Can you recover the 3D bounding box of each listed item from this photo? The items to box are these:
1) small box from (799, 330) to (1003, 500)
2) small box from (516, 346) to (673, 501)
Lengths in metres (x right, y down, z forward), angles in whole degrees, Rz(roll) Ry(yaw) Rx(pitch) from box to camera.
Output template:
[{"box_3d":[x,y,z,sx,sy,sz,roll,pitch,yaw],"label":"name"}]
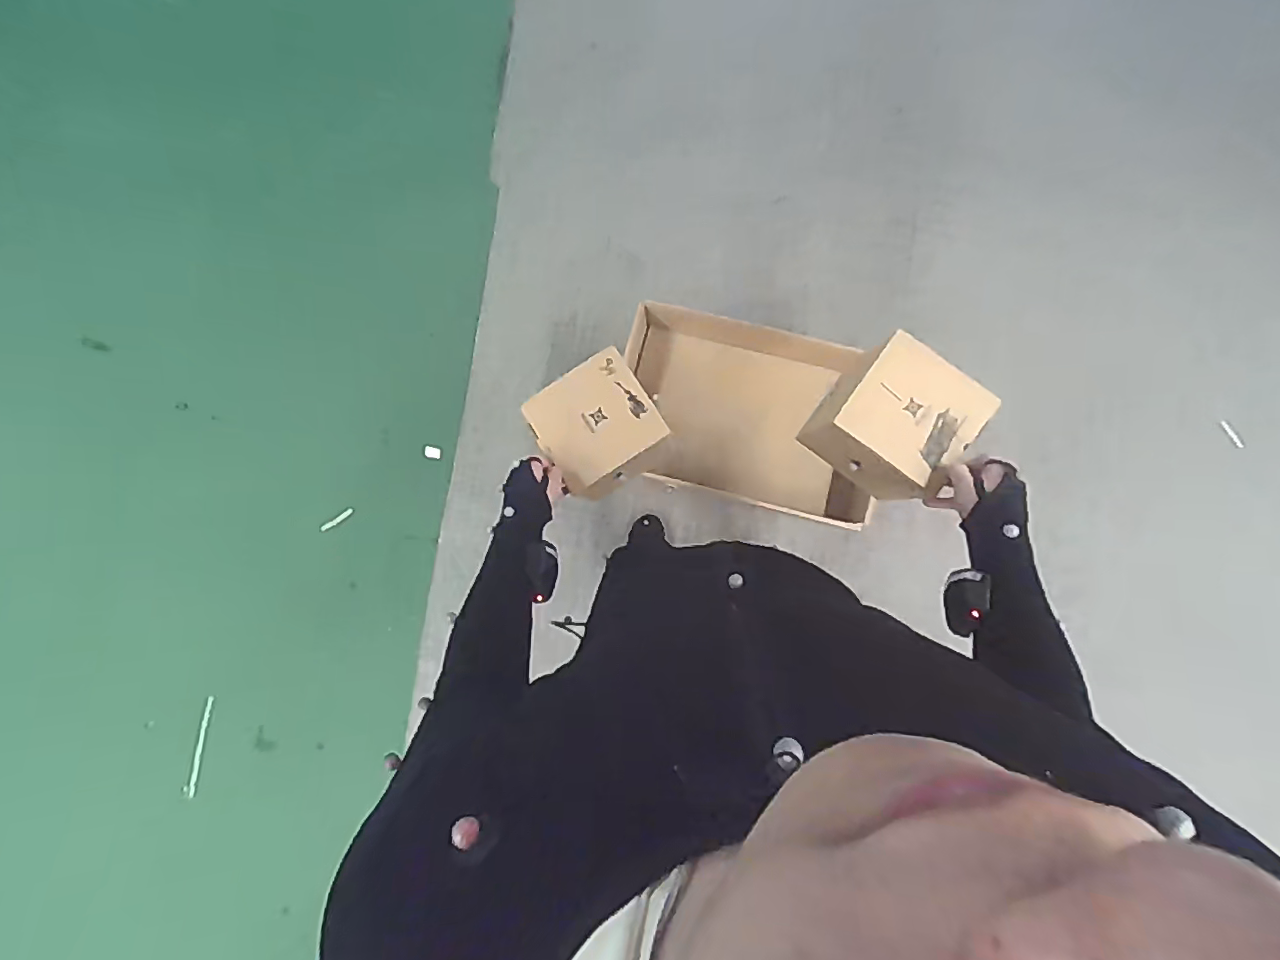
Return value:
[{"box_3d":[0.370,-0.085,0.801,0.179,0.176,0.168,36,86,1],"label":"small box"},{"box_3d":[-0.062,-0.078,0.867,0.179,0.176,0.168,-33,82,3],"label":"small box"}]
